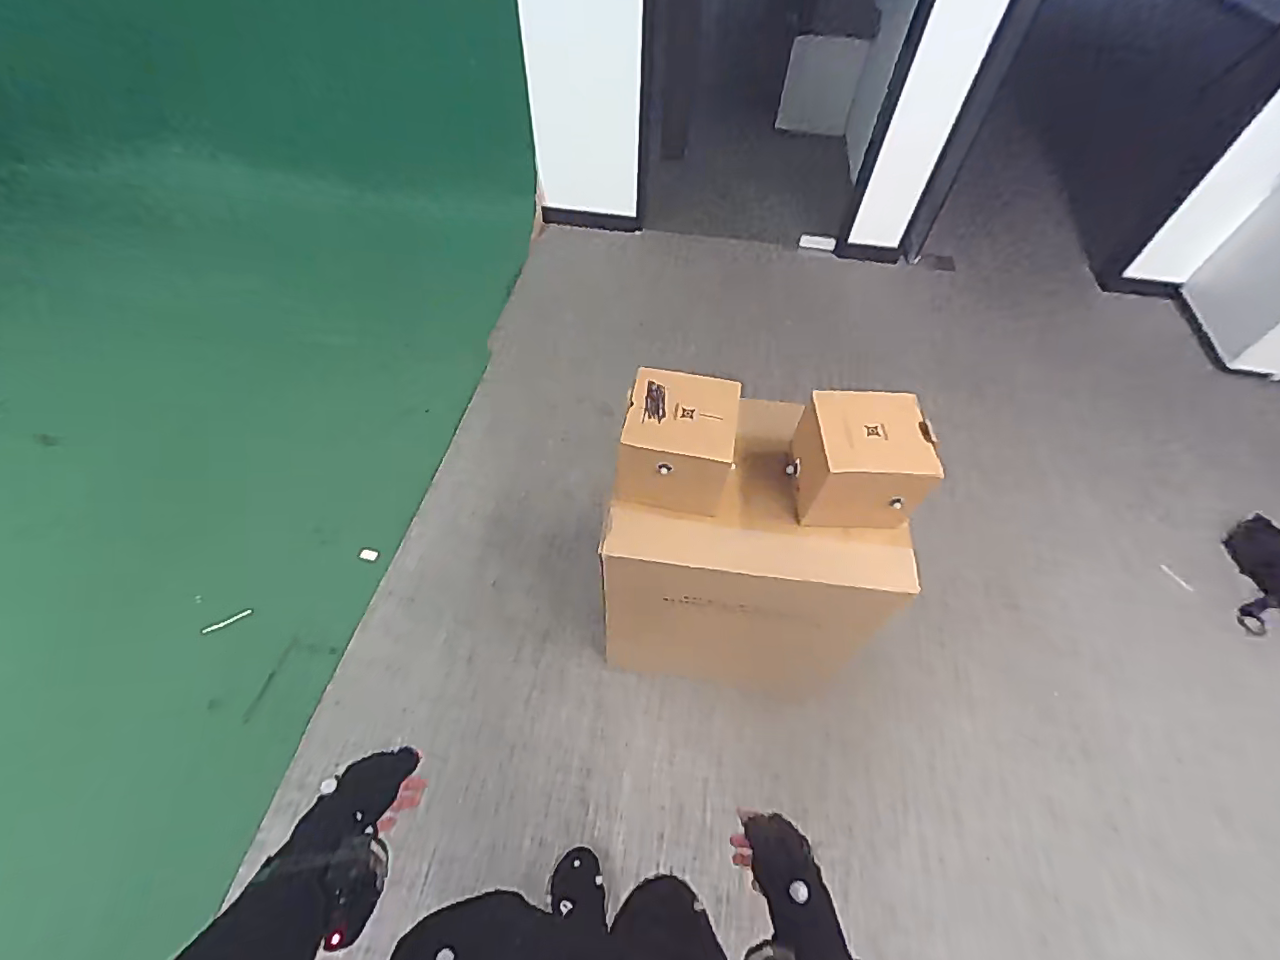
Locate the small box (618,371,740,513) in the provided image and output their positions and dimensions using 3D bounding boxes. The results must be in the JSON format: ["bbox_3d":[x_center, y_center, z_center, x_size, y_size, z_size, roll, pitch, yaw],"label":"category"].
[{"bbox_3d":[0.065,-0.060,0.926,0.179,0.176,0.168,10,58,5],"label":"small box"}]

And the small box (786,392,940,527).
[{"bbox_3d":[0.363,-0.030,0.915,0.179,0.176,0.168,0,56,0],"label":"small box"}]
